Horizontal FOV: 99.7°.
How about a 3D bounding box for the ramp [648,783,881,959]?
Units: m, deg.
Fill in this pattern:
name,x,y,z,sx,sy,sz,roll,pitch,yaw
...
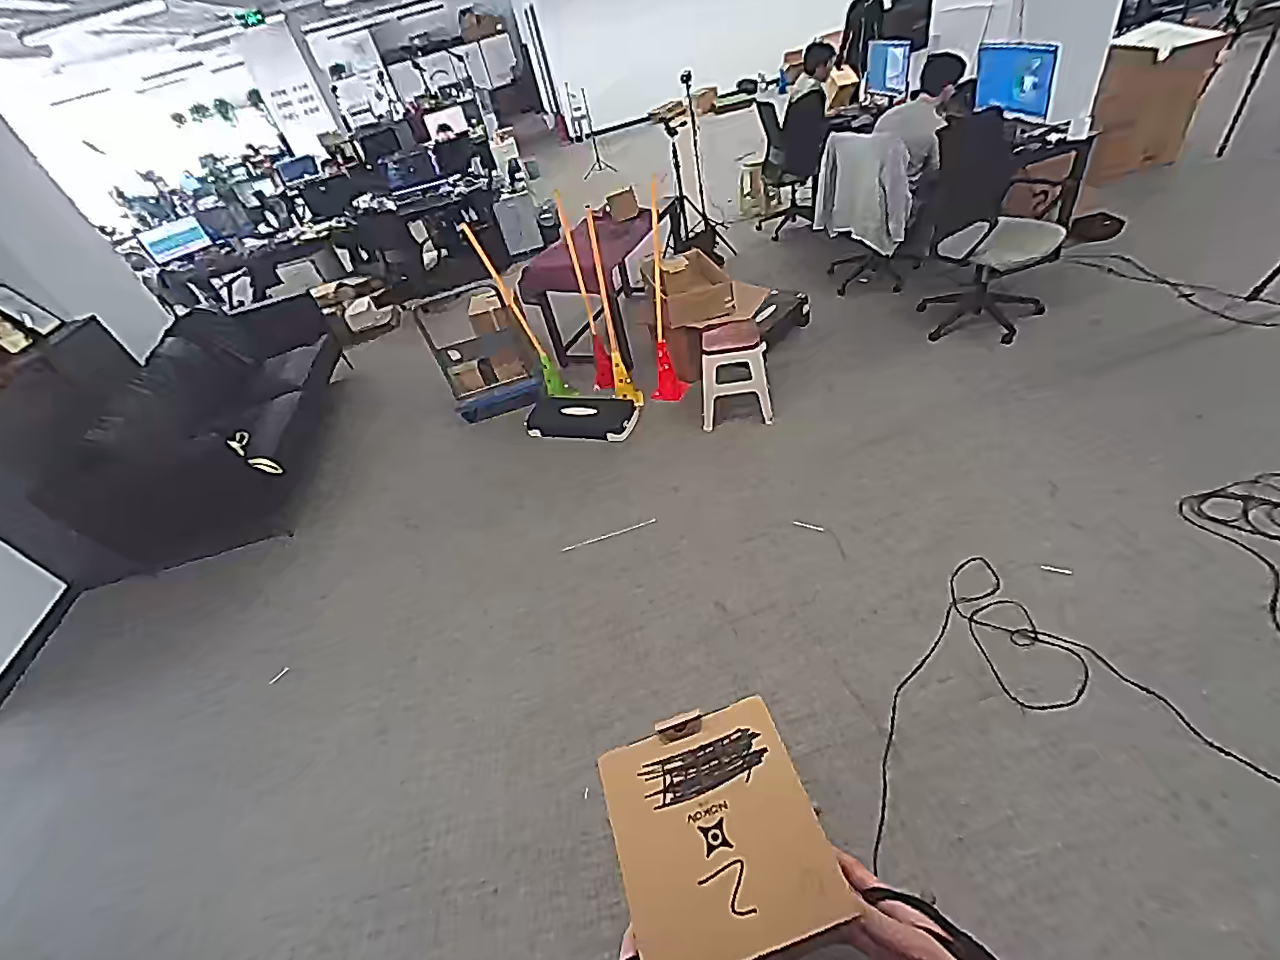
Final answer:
name,x,y,z,sx,sy,sz,roll,pitch,yaw
ramp,0.338,1.220,1.194,0.509,0.206,0.991,-20,40,-2
